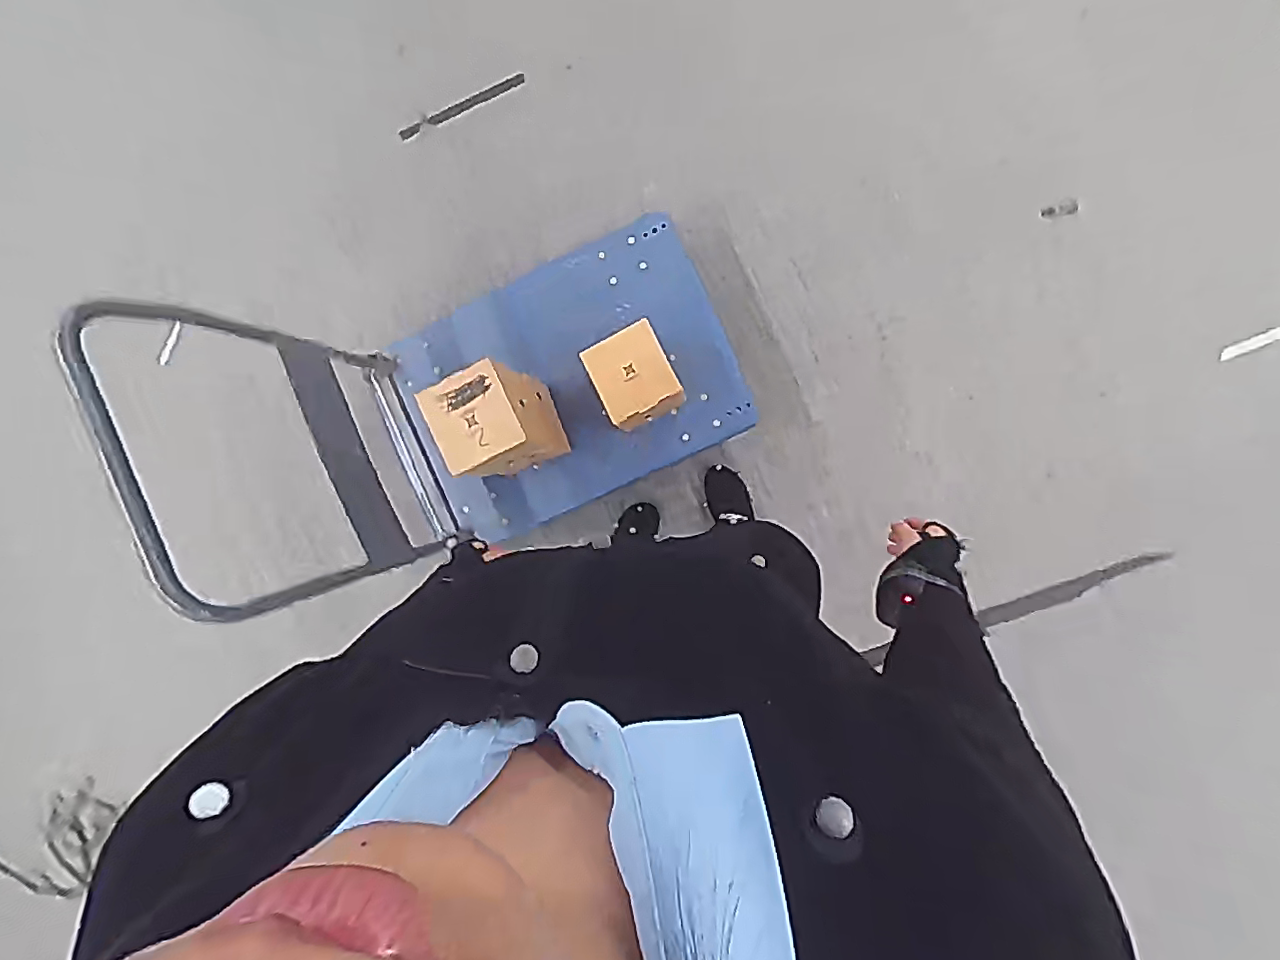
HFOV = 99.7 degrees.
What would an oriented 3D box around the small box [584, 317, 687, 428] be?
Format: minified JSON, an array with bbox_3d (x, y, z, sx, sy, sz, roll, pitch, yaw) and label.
[{"bbox_3d":[-0.004,-0.233,1.223,0.168,0.176,0.179,-28,88,6],"label":"small box"}]

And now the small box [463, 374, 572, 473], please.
[{"bbox_3d":[-0.276,-0.123,1.253,0.168,0.176,0.179,-21,88,7],"label":"small box"}]
